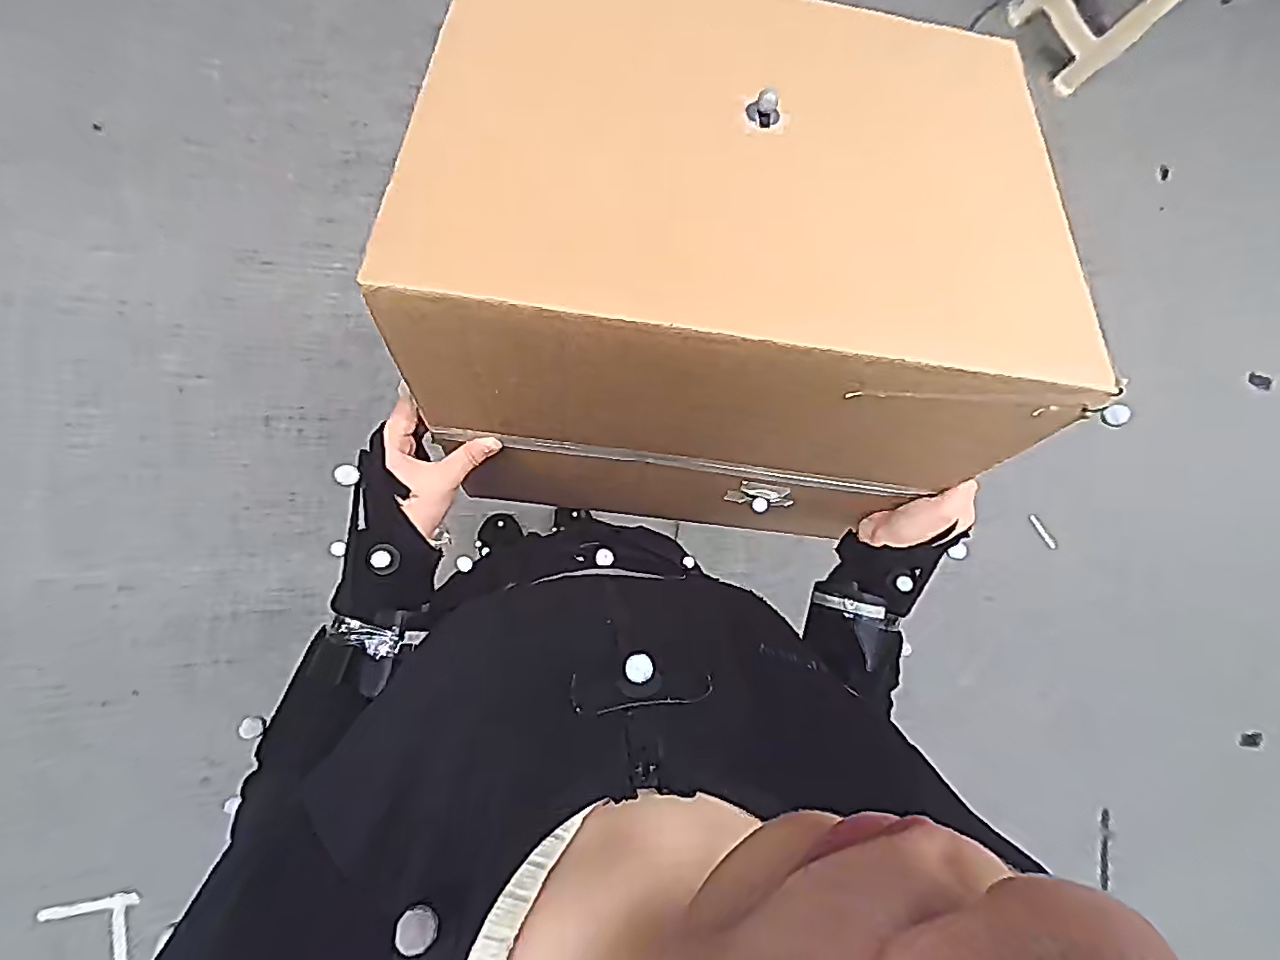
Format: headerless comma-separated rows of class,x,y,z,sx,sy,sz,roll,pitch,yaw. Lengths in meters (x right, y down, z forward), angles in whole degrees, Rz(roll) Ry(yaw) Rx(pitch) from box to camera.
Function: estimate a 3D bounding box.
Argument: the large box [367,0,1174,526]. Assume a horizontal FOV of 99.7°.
large box,0.063,-0.167,0.449,0.408,0.320,0.320,6,69,-5
